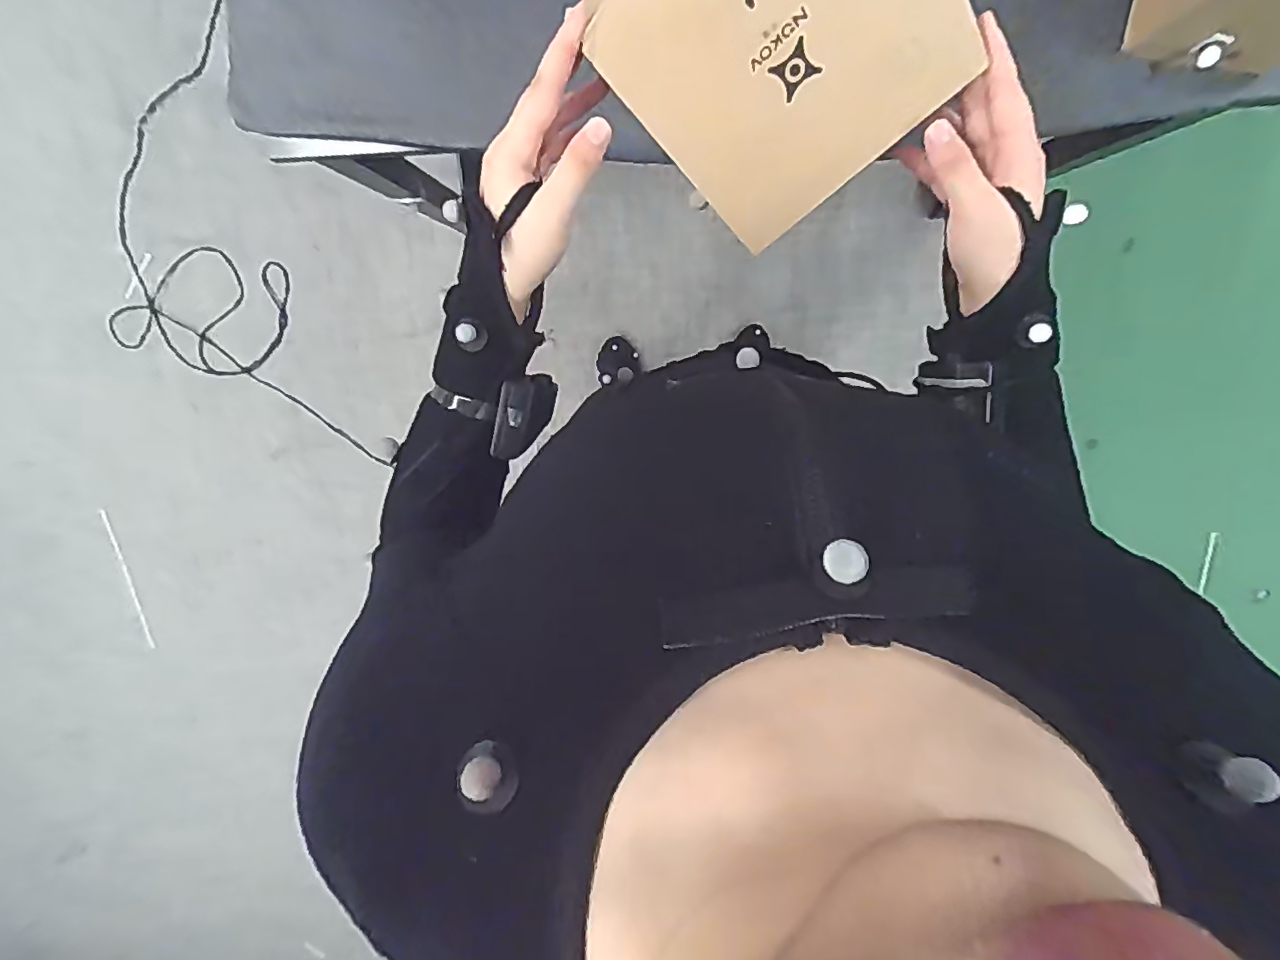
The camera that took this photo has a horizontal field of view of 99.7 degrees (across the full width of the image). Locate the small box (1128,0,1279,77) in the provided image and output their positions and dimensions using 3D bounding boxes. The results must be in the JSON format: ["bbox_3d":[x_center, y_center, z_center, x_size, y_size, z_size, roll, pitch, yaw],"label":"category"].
[{"bbox_3d":[0.615,-0.520,0.499,0.168,0.176,0.179,7,103,2],"label":"small box"}]
